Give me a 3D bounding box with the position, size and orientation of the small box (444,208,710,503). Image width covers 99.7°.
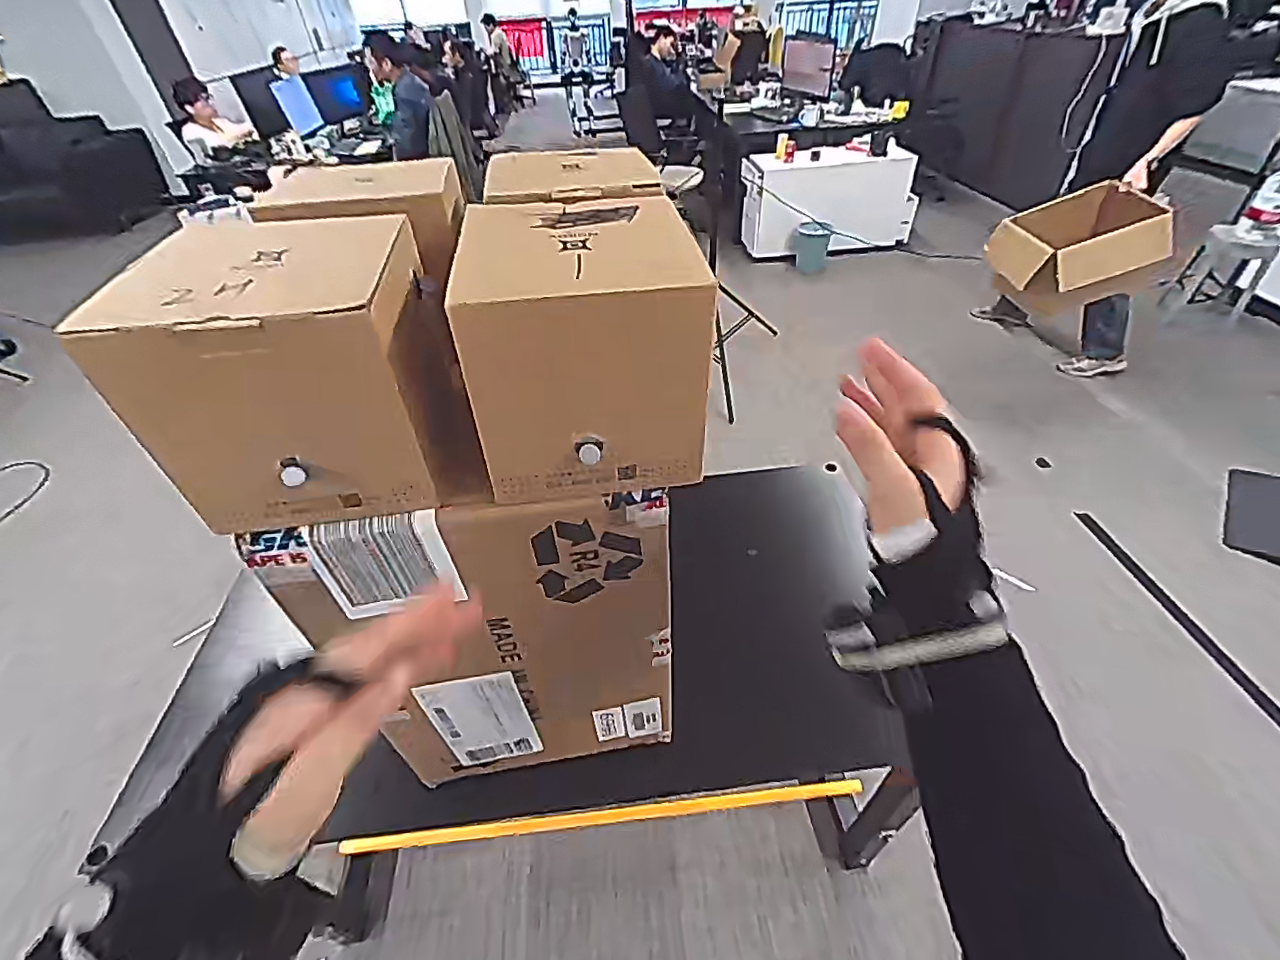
[{"bbox_3d":[-0.046,-0.105,0.443,0.168,0.176,0.179,-7,43,-5],"label":"small box"}]
